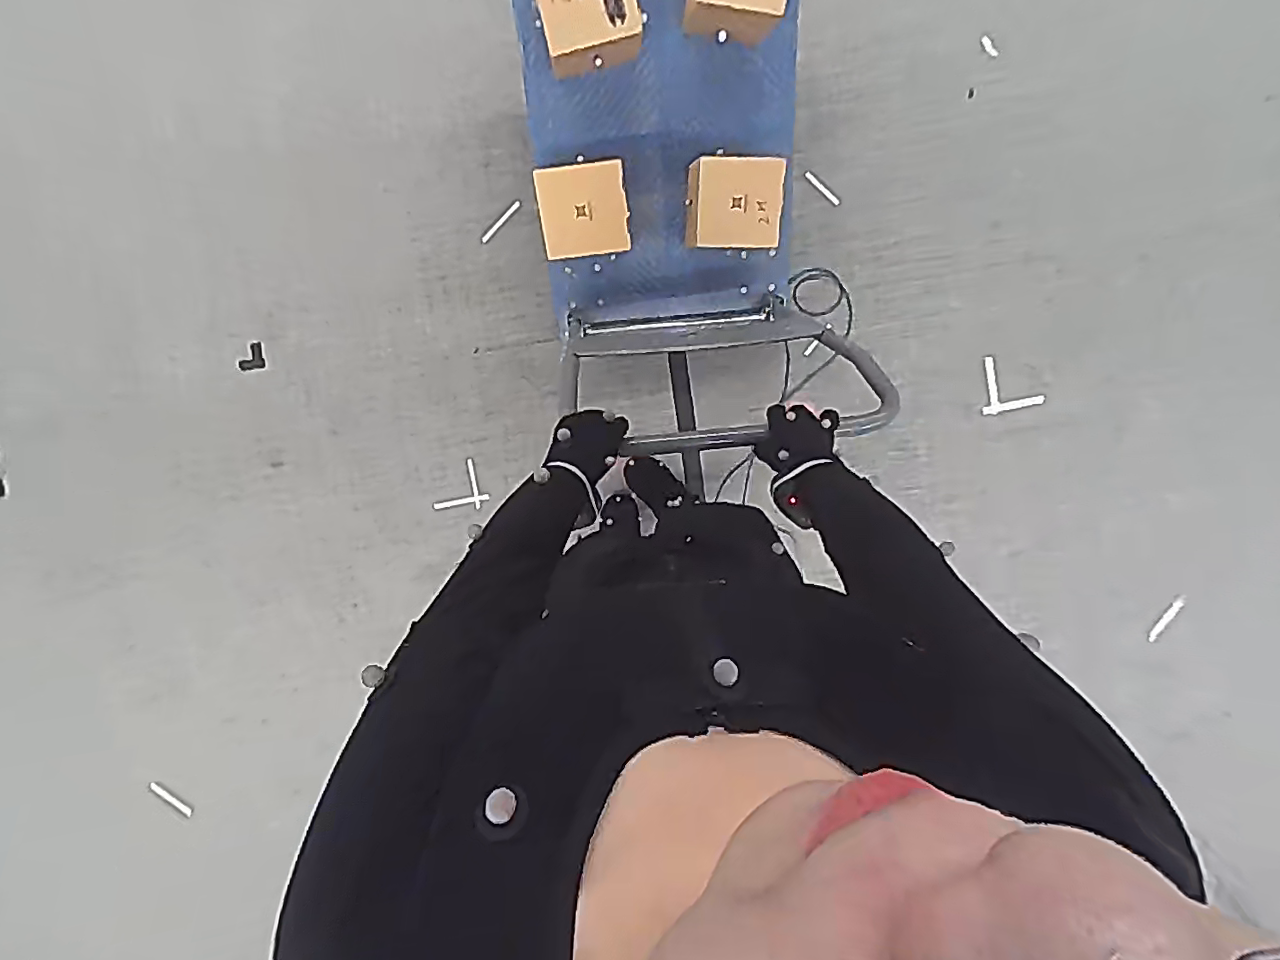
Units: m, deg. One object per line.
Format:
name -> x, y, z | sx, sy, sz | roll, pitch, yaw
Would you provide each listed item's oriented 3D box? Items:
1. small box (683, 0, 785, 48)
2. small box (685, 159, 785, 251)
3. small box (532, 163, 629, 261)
small box -> 0.179, -0.949, 1.007 | 0.168, 0.176, 0.179 | 4, 114, -6
small box -> 0.195, -0.586, 1.167 | 0.179, 0.176, 0.168 | -1, 114, -4
small box -> -0.122, -0.563, 1.154 | 0.179, 0.176, 0.168 | -9, 114, -2
